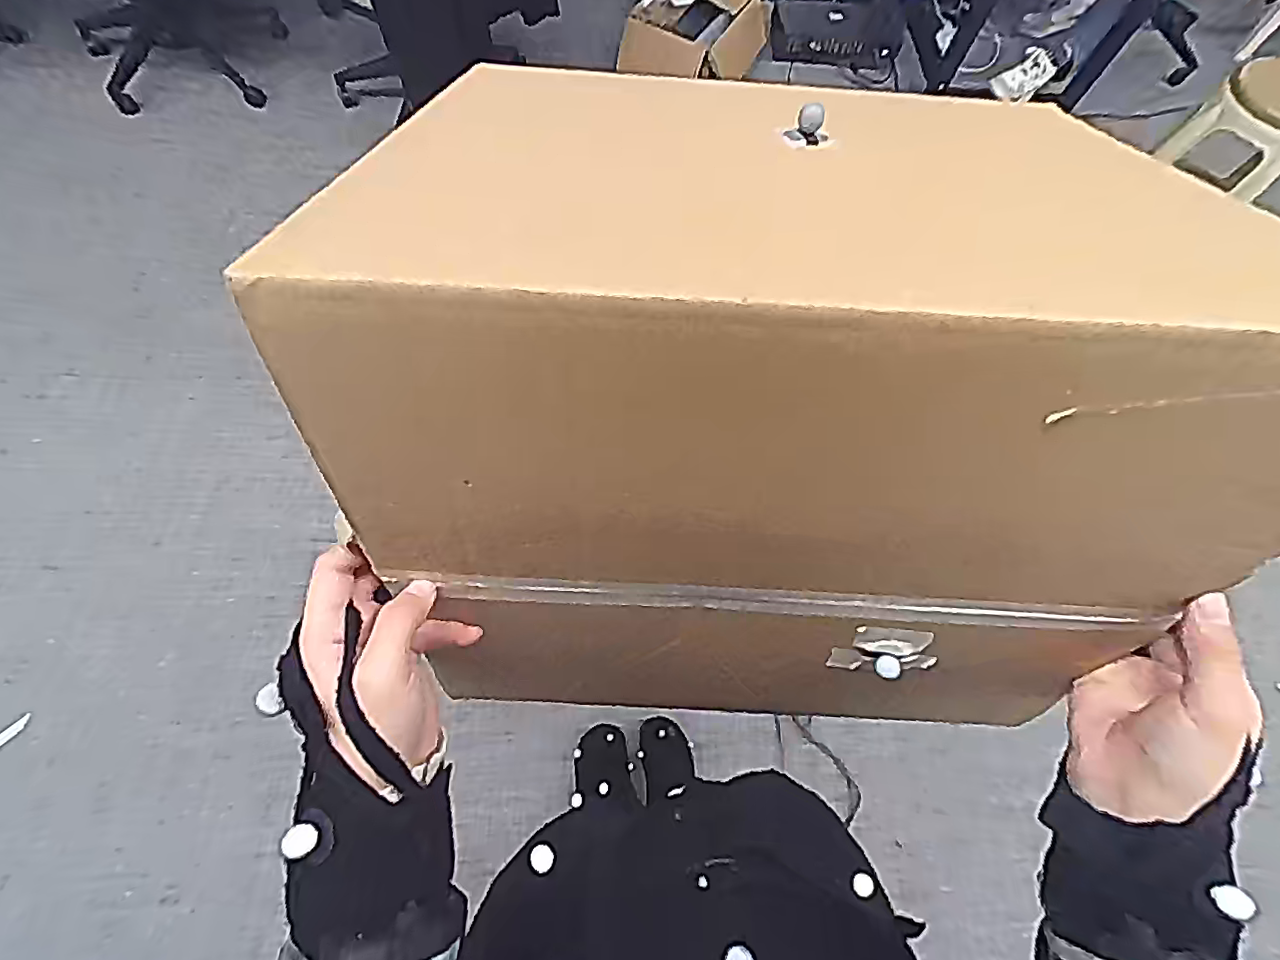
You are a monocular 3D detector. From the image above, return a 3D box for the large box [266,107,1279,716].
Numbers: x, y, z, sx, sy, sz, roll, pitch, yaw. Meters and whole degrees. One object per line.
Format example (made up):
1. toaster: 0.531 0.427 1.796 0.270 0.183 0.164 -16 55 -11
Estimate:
1. large box: 0.071 -0.048 0.386 0.408 0.320 0.320 2 47 -1
